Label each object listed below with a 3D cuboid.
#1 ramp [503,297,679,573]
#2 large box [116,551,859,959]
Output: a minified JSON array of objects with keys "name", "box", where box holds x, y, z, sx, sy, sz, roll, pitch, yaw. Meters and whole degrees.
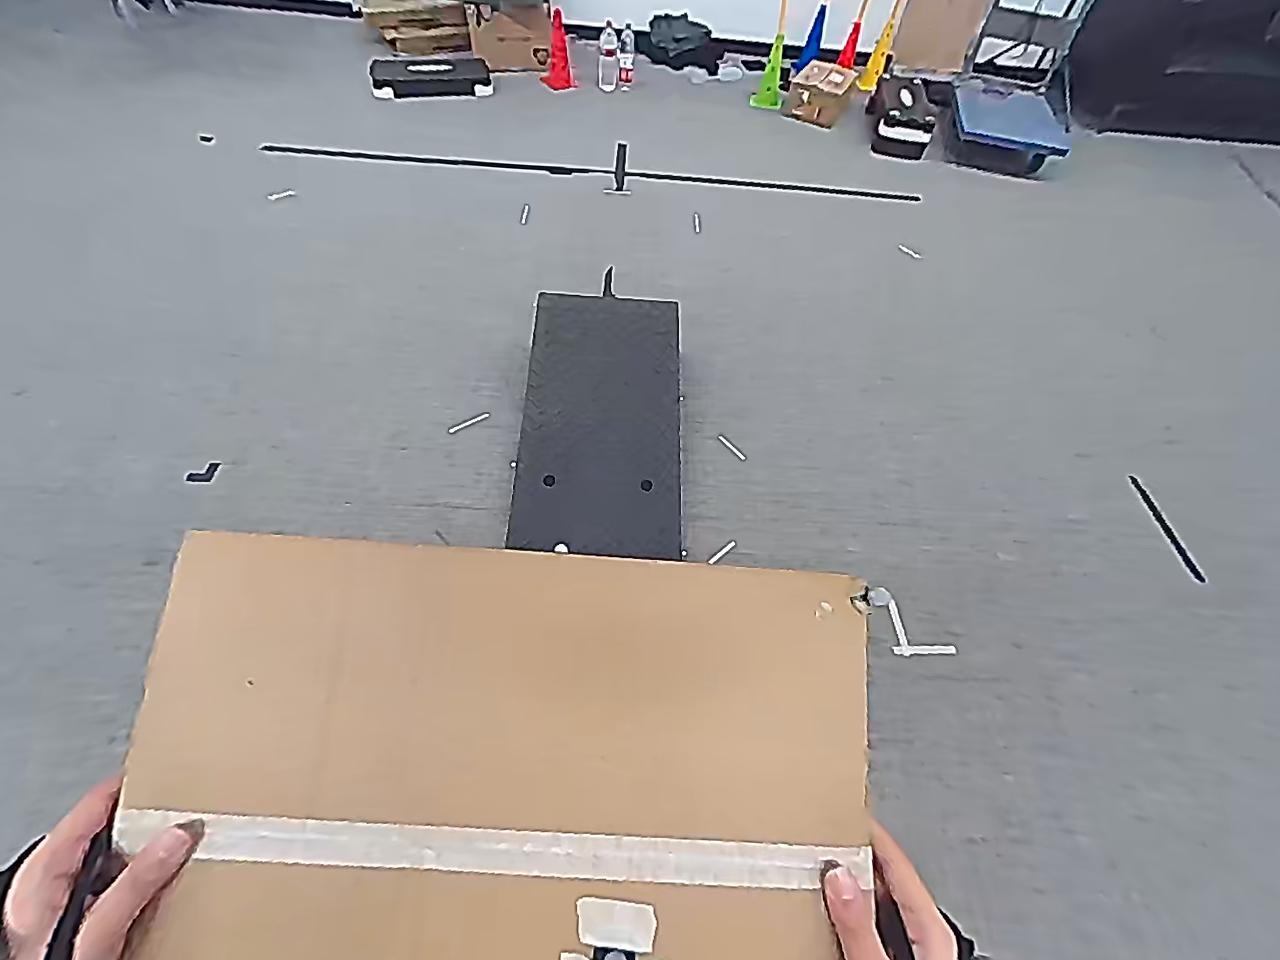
[{"name":"ramp","box":[-0.122,-0.167,1.684,0.509,0.206,0.991,2,55,-6]},{"name":"large box","box":[-0.081,0.234,0.449,0.408,0.320,0.320,4,79,-2]}]
